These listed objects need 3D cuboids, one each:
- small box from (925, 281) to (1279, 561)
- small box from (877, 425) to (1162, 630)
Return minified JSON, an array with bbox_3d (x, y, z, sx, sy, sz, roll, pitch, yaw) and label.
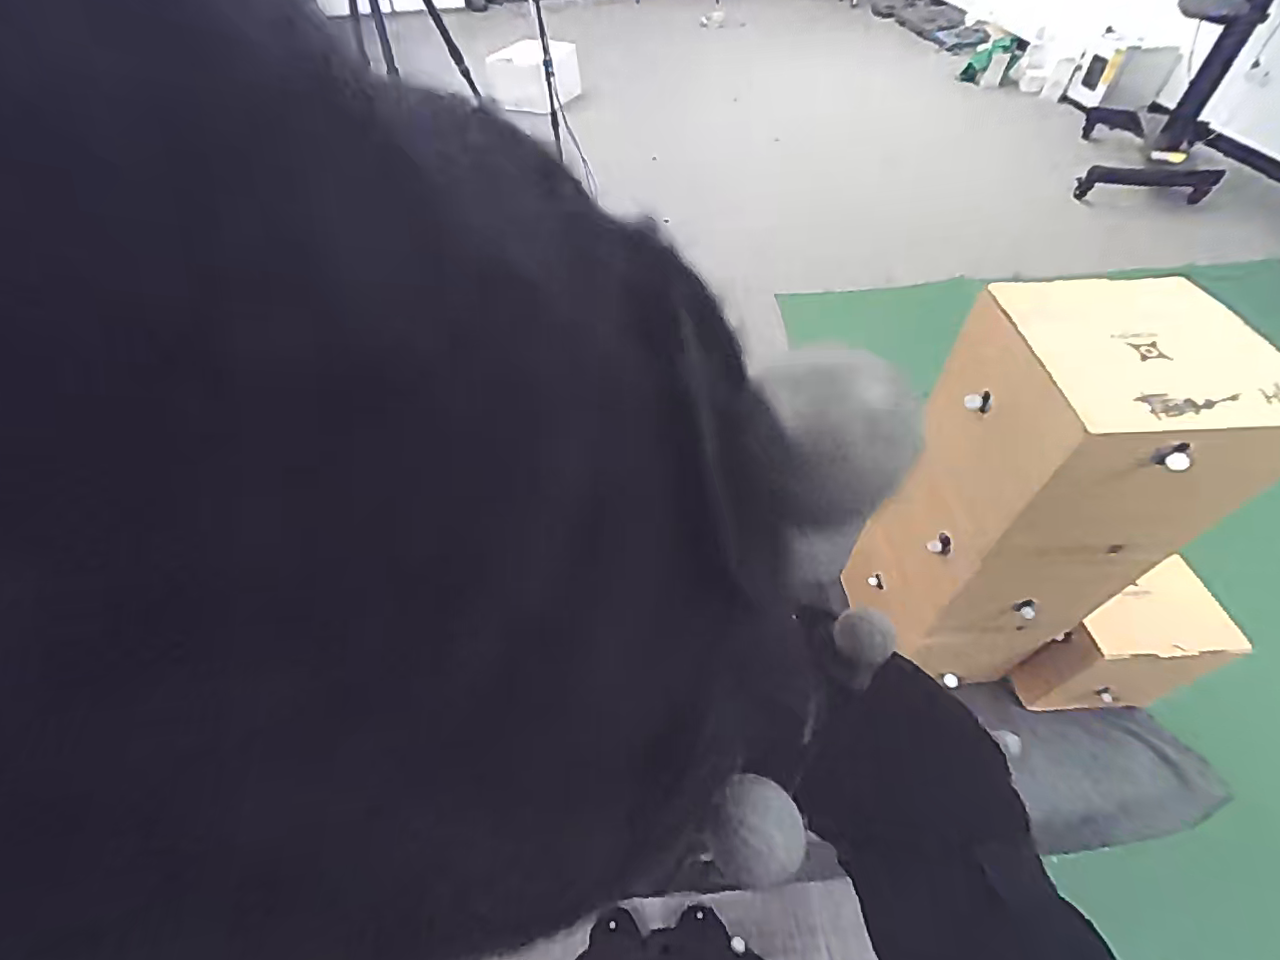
[{"bbox_3d":[0.376,-0.048,0.466,0.168,0.176,0.179,-2,50,3],"label":"small box"},{"bbox_3d":[0.386,0.055,0.593,0.168,0.176,0.179,-3,50,1],"label":"small box"}]
